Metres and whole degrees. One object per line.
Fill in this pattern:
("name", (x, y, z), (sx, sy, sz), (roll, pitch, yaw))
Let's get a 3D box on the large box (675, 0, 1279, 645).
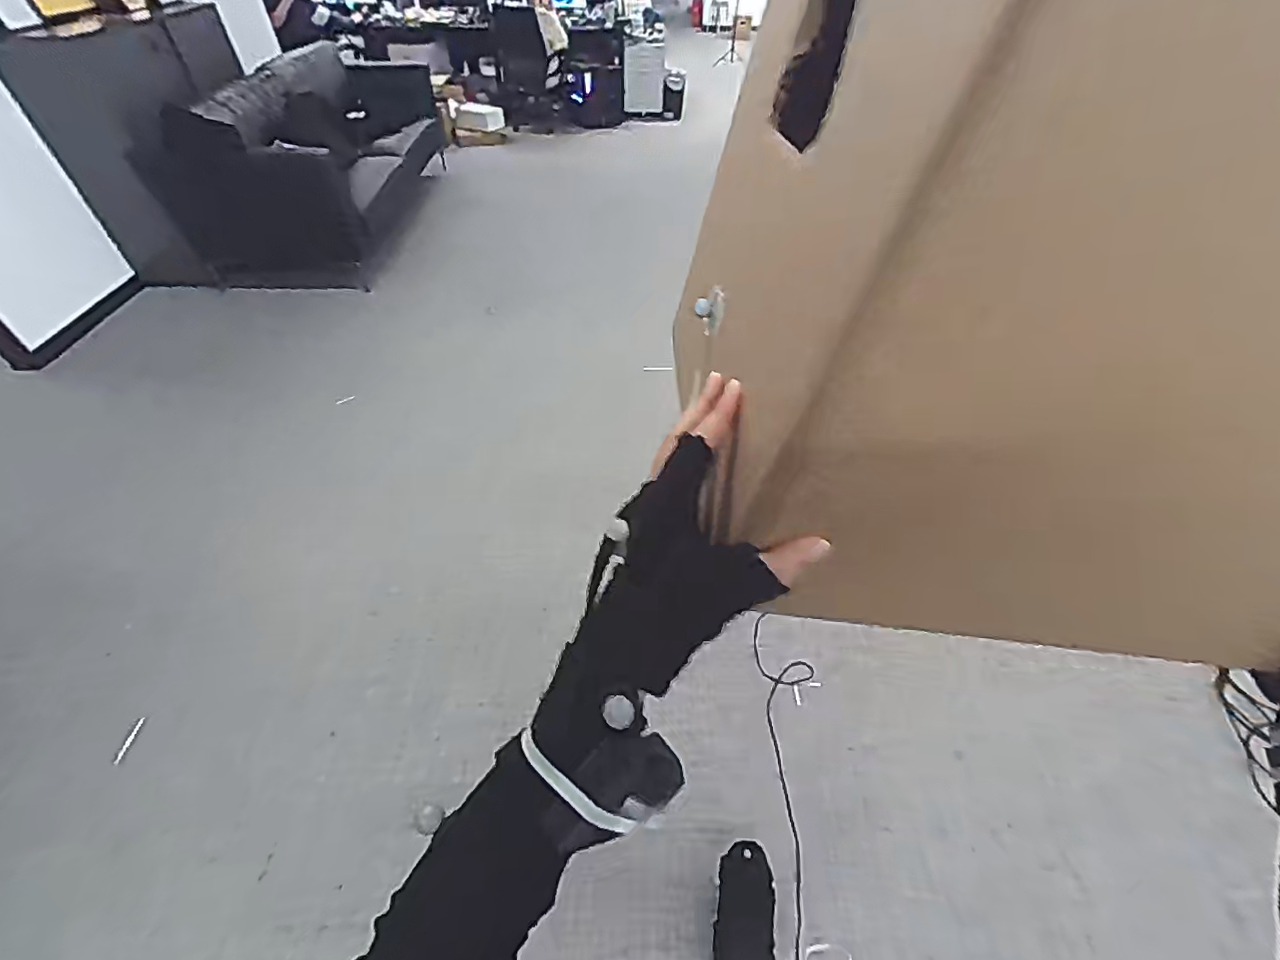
("large box", (0.264, -0.118, 0.353), (0.408, 0.320, 0.320), (9, 43, -10))
